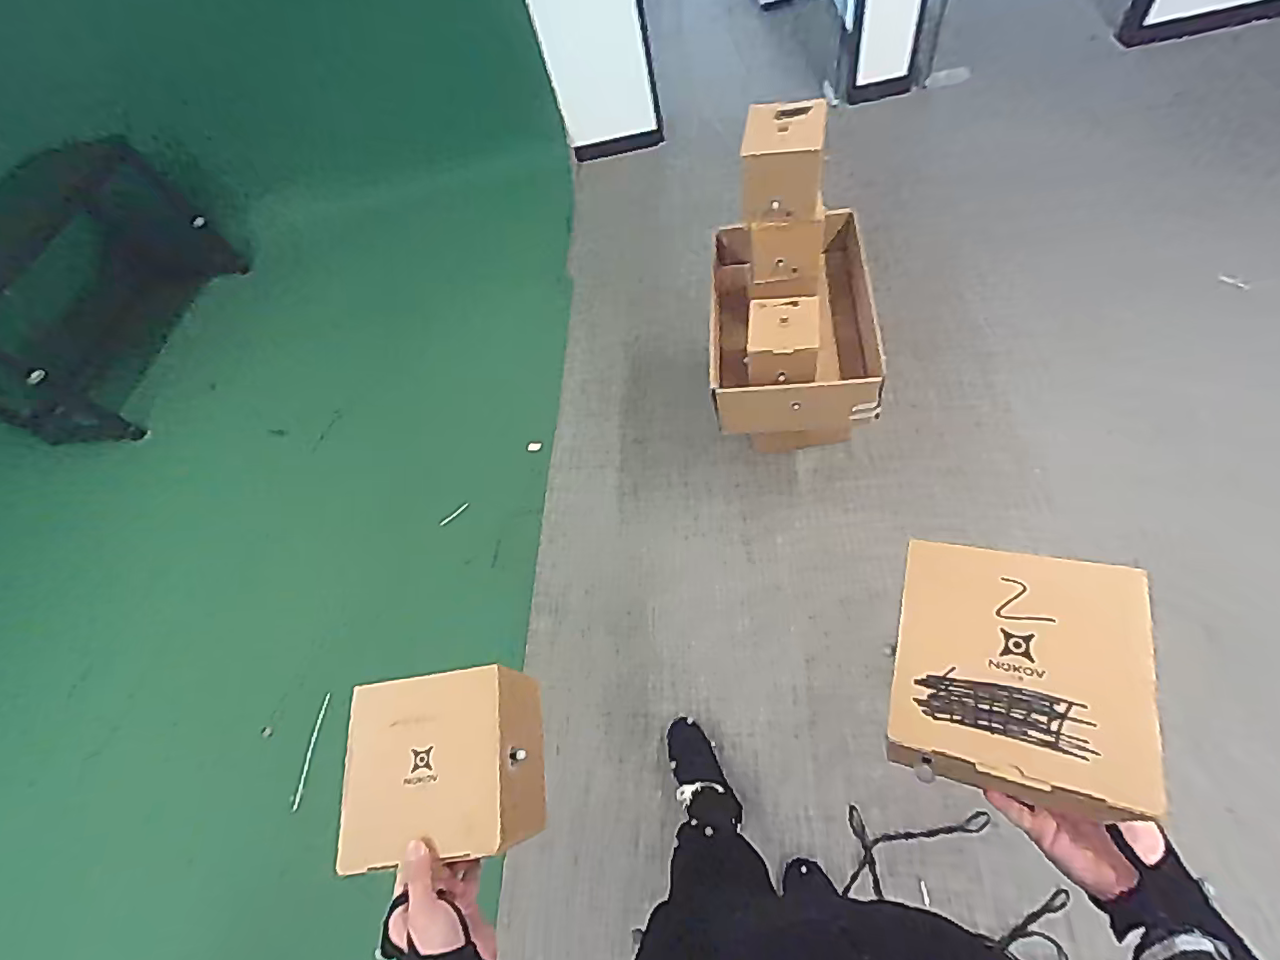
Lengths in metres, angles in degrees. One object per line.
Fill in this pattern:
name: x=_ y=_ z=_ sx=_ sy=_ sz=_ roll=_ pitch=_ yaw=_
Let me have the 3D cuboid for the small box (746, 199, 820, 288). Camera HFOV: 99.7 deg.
small box: x=0.354 y=-0.613 z=1.360 sx=0.168 sy=0.176 sz=0.179 roll=-4 pitch=61 yaw=11

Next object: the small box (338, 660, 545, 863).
small box: x=-0.212 y=0.318 z=0.627 sx=0.168 sy=0.176 sz=0.179 roll=-9 pitch=62 yaw=3

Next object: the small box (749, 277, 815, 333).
small box: x=0.388 y=-0.536 z=1.499 sx=0.168 sy=0.176 sz=0.179 roll=-3 pitch=60 yaw=13

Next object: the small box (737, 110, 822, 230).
small box: x=0.315 y=-0.696 z=1.224 sx=0.168 sy=0.176 sz=0.179 roll=5 pitch=63 yaw=16
